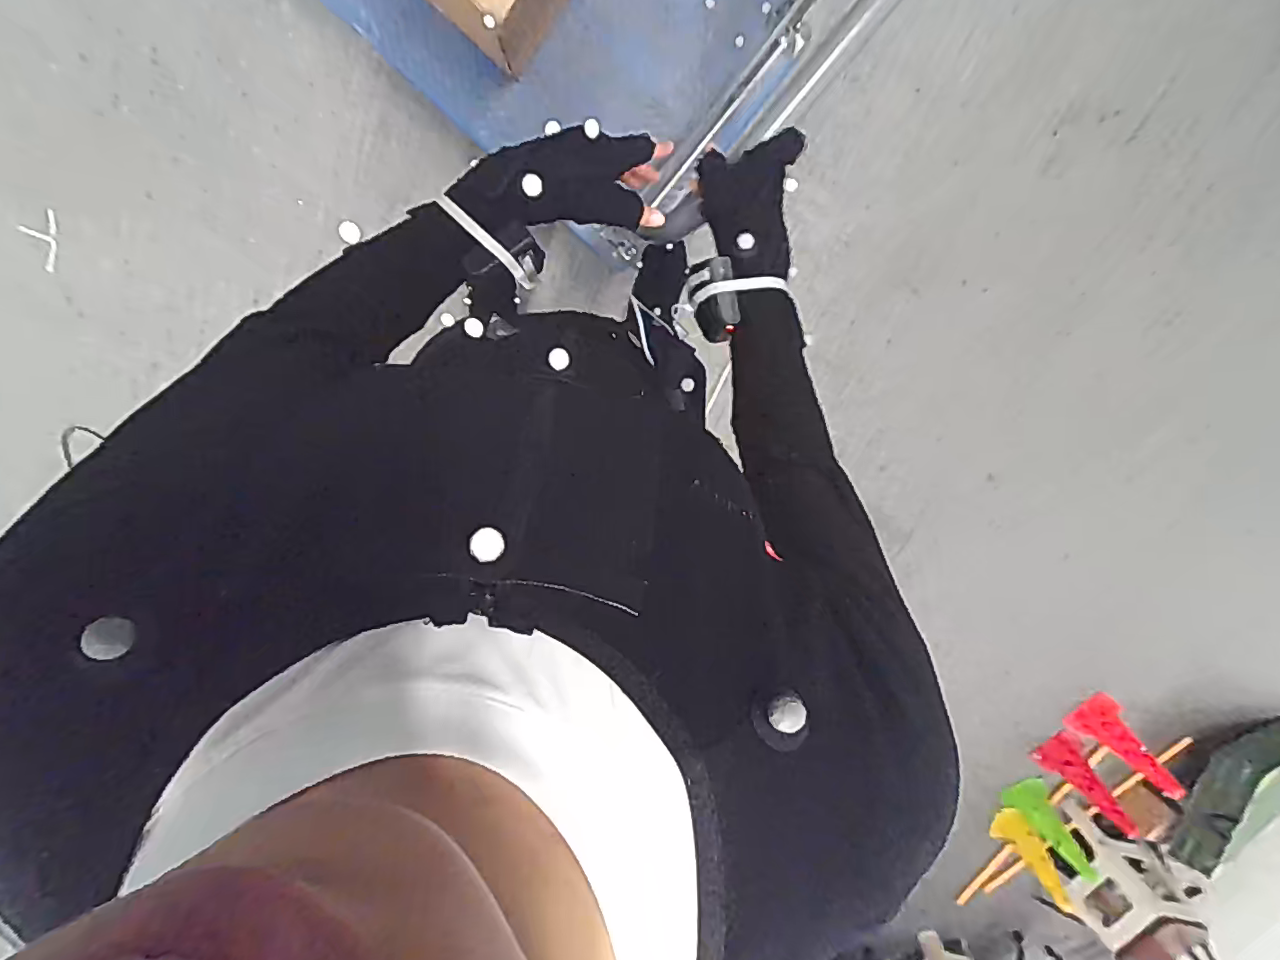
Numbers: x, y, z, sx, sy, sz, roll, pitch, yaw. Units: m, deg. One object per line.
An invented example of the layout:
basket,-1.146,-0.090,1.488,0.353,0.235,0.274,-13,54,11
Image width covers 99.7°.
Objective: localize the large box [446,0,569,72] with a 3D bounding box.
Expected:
large box,-0.189,-0.915,0.767,0.320,0.320,0.408,36,106,-20
